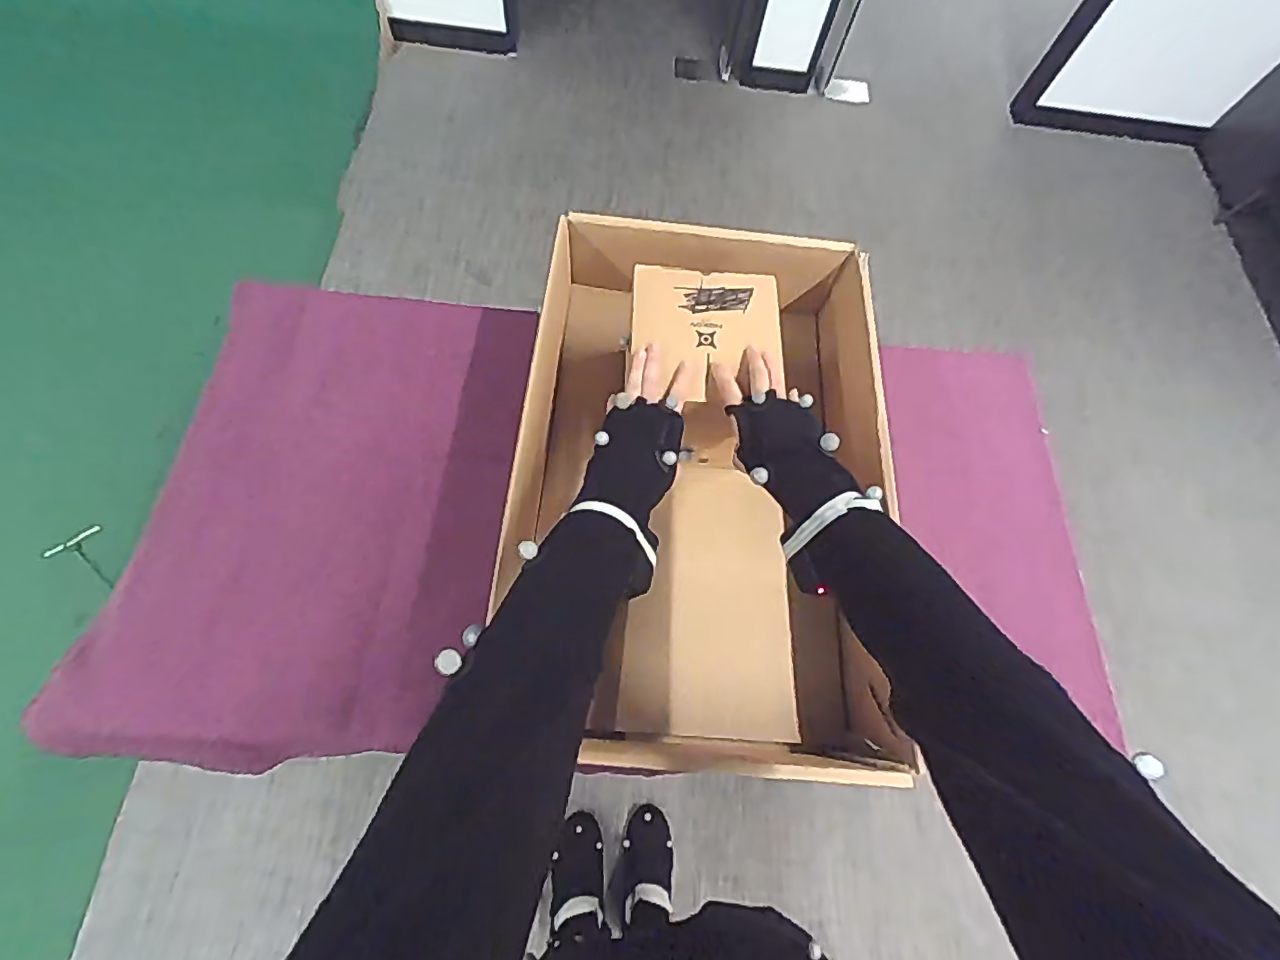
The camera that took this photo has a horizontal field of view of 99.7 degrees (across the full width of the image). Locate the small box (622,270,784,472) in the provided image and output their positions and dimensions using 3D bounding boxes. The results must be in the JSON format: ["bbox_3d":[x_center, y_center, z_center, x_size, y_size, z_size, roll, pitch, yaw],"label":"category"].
[{"bbox_3d":[0.066,-0.125,0.662,0.168,0.176,0.179,3,69,-4],"label":"small box"}]
